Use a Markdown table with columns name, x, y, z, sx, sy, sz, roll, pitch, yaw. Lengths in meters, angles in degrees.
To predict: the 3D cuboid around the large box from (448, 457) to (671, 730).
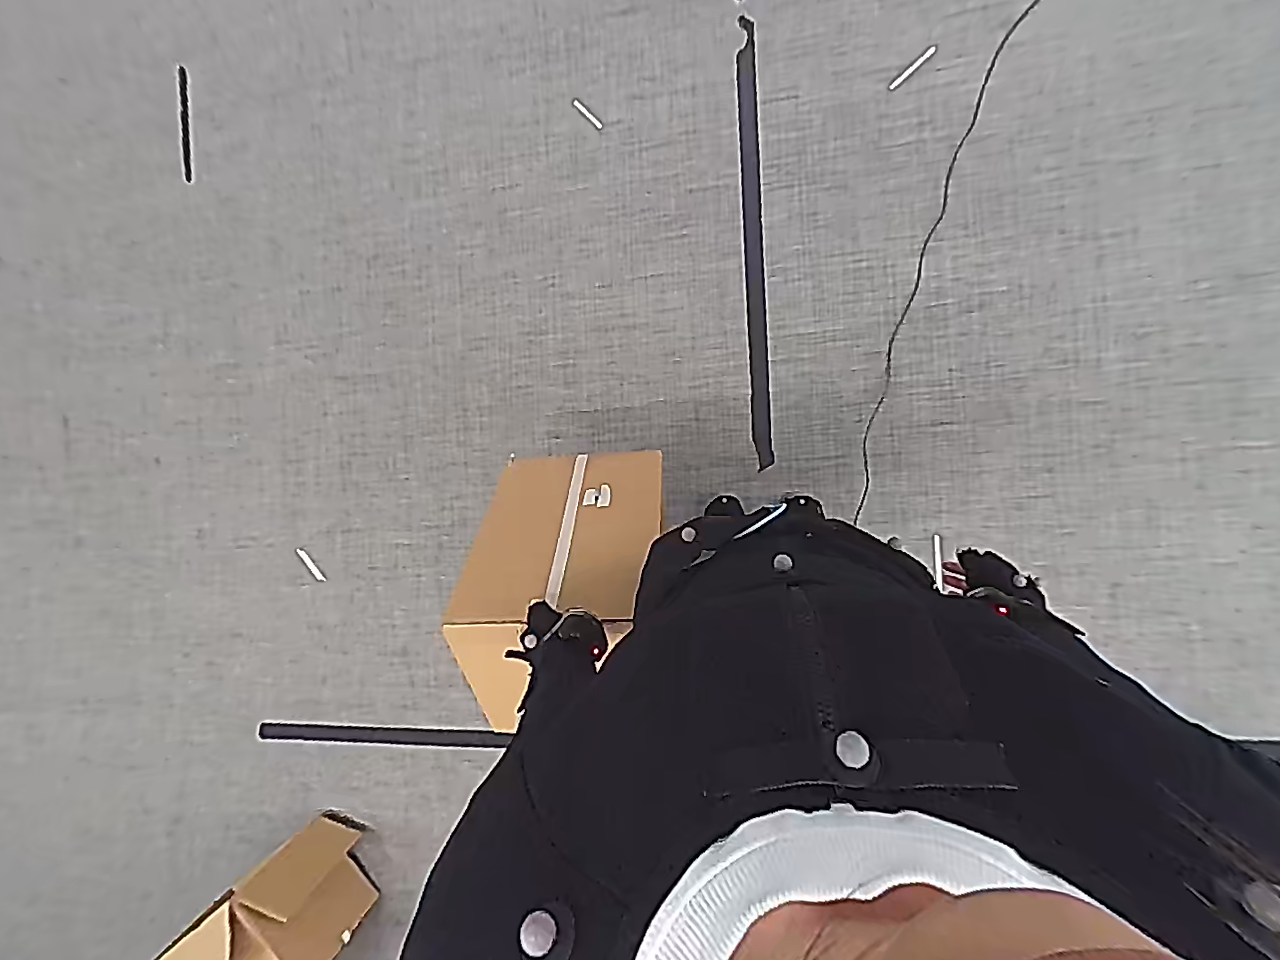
| name | x | y | z | sx | sy | sz | roll | pitch | yaw |
| --- | --- | --- | --- | --- | --- | --- | --- | --- | --- |
| large box | -0.108 | 0.202 | 1.017 | 0.320 | 0.408 | 0.320 | -2 | 127 | 6 |
